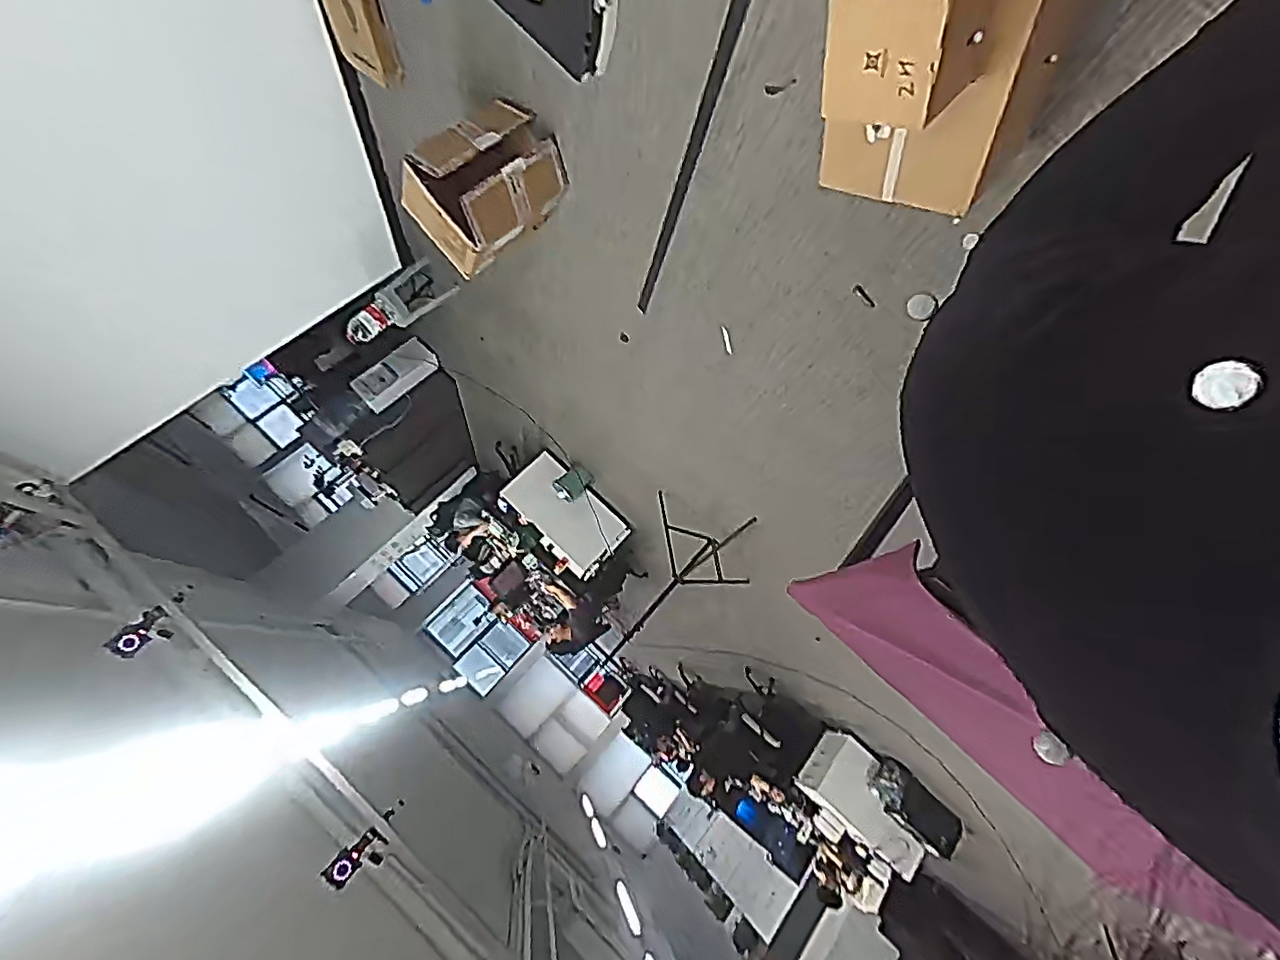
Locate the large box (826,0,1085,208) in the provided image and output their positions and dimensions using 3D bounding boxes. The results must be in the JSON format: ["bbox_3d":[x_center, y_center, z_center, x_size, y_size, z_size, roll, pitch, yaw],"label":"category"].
[{"bbox_3d":[0.569,-0.791,0.975,0.320,0.320,0.408,33,158,29],"label":"large box"}]

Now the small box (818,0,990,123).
[{"bbox_3d":[0.396,-0.676,0.814,0.179,0.176,0.168,31,157,29],"label":"small box"}]
